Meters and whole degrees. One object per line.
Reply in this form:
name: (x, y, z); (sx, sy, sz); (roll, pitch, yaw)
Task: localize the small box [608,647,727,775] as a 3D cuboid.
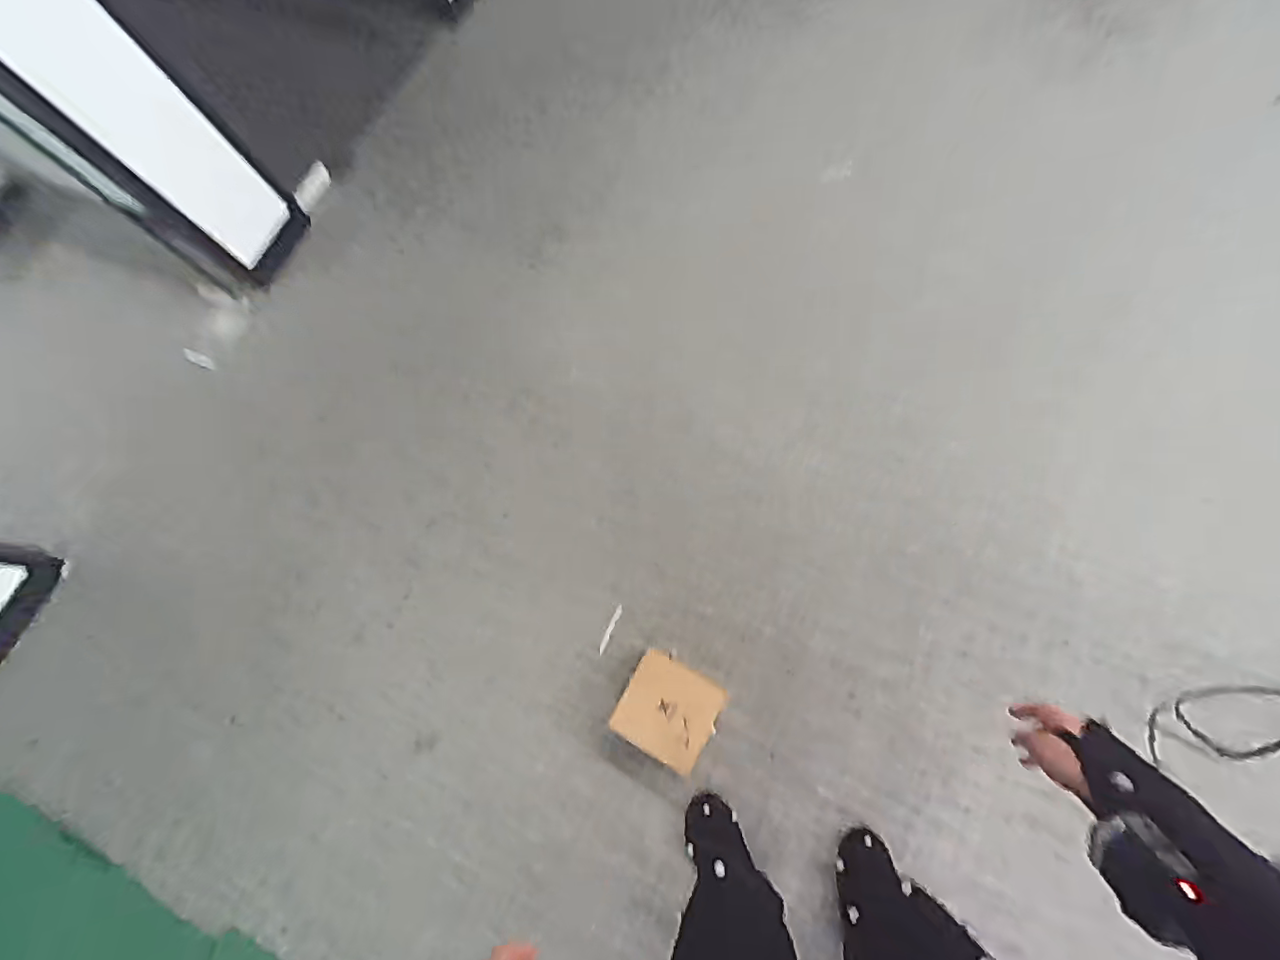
small box: (0.061, 0.461, 1.100); (0.179, 0.176, 0.168); (27, 78, 15)
